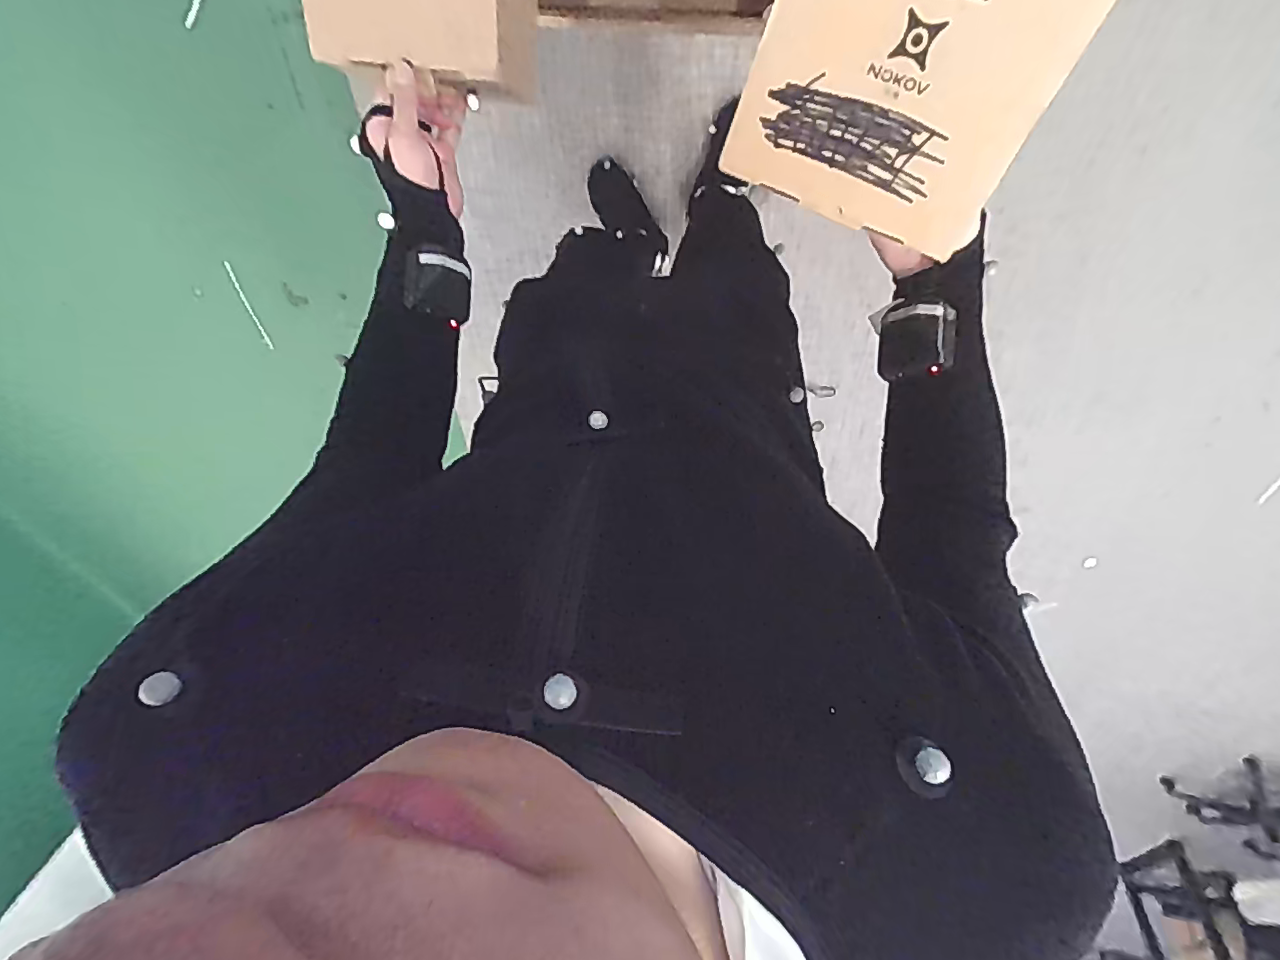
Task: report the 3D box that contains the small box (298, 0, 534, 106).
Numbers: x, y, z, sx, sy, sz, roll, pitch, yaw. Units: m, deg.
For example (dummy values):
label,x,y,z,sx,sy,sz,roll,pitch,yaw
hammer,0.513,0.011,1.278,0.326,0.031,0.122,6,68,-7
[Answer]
label,x,y,z,sx,sy,sz,roll,pitch,yaw
small box,-0.197,-0.471,0.505,0.168,0.176,0.179,6,116,0
